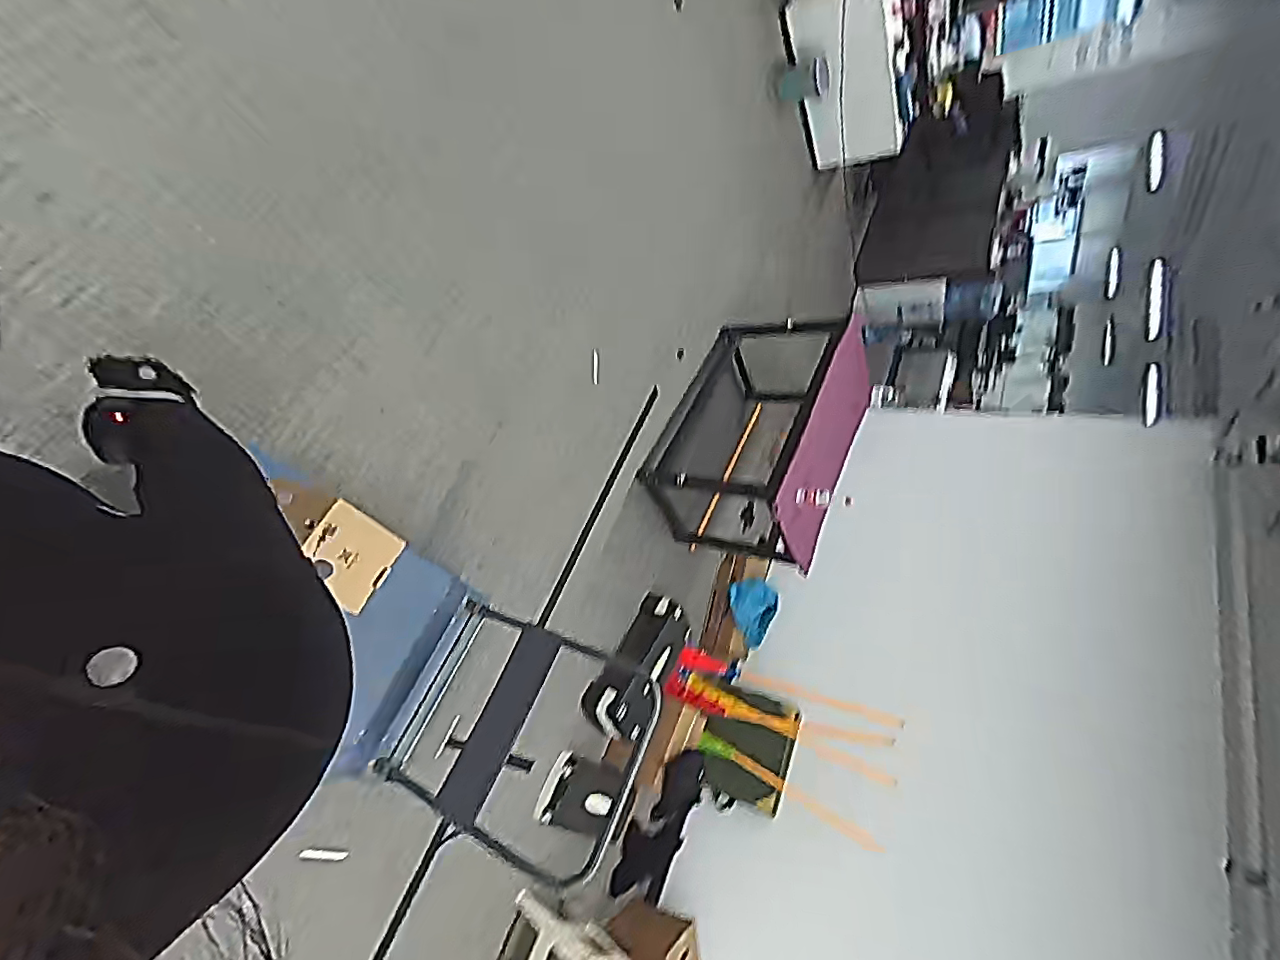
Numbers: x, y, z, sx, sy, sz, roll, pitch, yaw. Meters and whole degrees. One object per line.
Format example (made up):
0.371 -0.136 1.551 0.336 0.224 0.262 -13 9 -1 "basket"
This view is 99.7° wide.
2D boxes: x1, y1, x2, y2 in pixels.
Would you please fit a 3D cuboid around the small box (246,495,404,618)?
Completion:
-0.621 0.145 1.072 0.168 0.176 0.179 -63 142 -25 "small box"
